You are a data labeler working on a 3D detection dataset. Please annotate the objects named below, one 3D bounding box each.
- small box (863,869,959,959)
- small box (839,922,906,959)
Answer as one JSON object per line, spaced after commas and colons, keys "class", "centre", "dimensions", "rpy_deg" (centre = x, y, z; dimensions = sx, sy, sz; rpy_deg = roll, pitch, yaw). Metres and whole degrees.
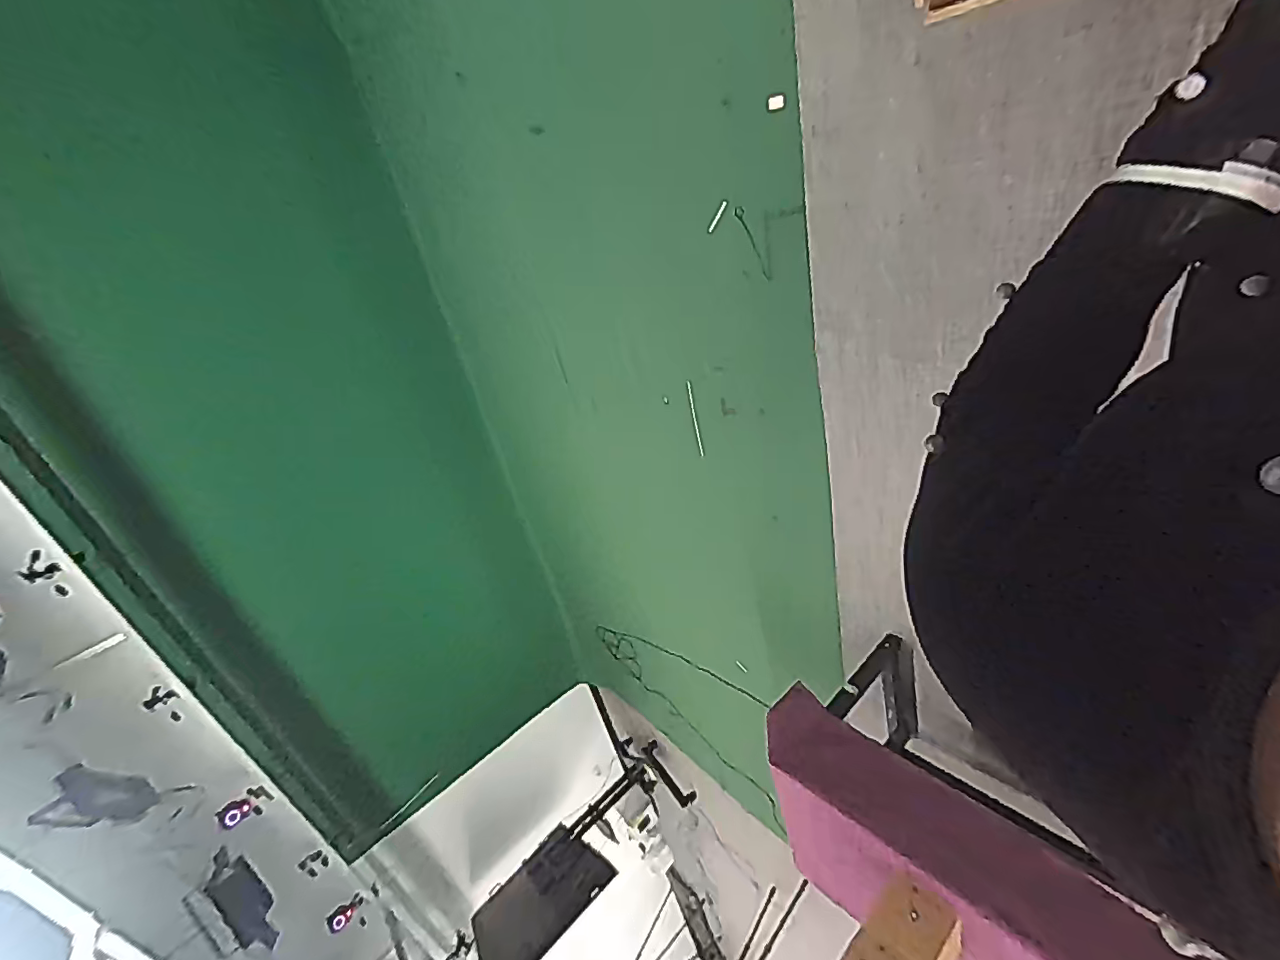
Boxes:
{"class": "small box", "centre": [0.700, 1.165, 1.395], "dimensions": [0.168, 0.176, 0.179], "rpy_deg": [19, 133, 50]}
{"class": "small box", "centre": [0.578, 1.243, 1.317], "dimensions": [0.168, 0.176, 0.179], "rpy_deg": [21, 134, 48]}
